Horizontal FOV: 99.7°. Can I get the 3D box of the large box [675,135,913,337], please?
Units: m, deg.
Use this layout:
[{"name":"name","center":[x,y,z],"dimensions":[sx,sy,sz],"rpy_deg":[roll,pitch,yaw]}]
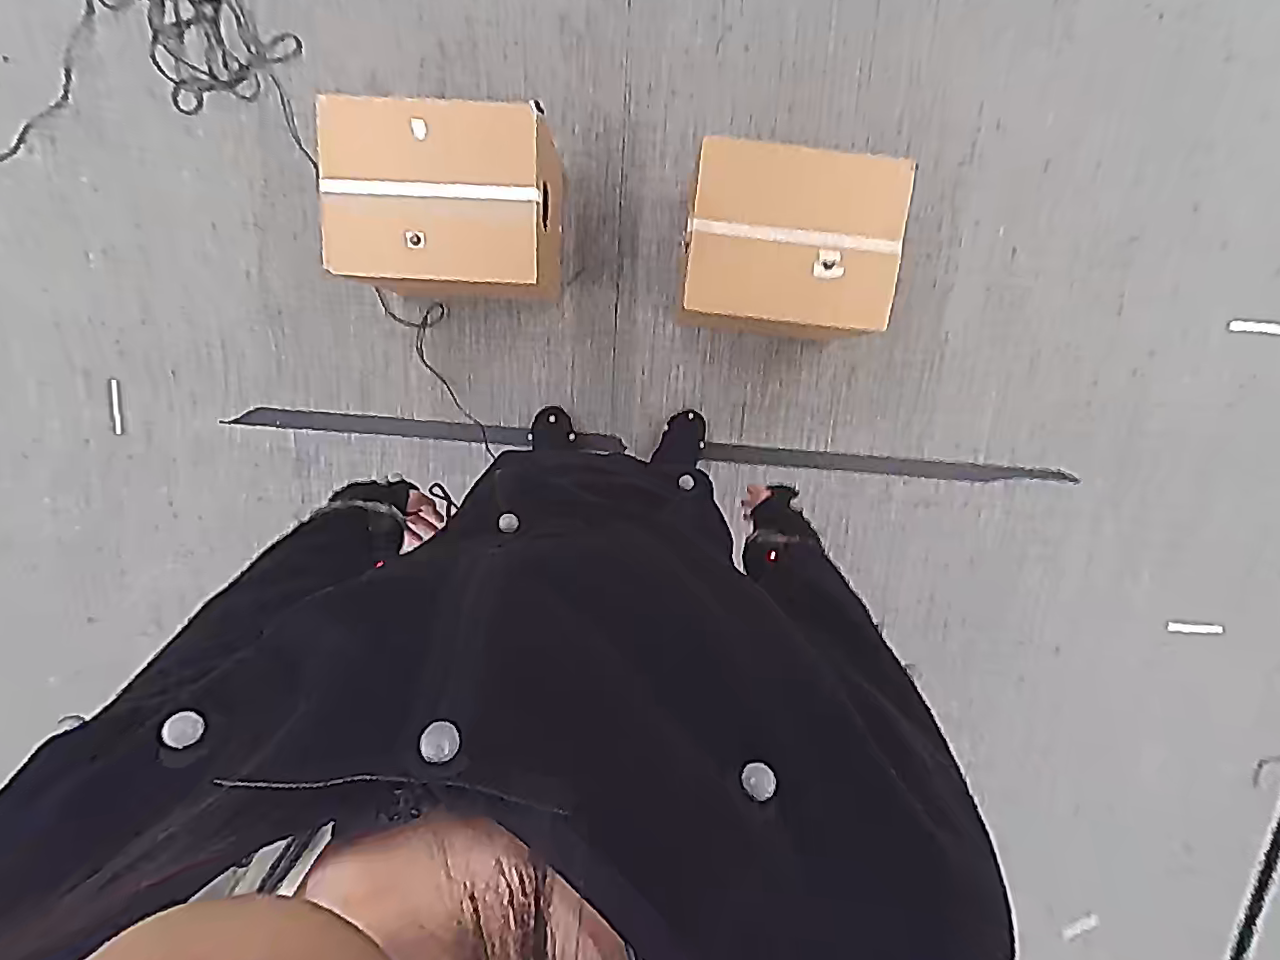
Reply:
[{"name":"large box","center":[0.299,-0.498,1.179],"dimensions":[0.408,0.320,0.320],"rpy_deg":[6,101,-2]}]
